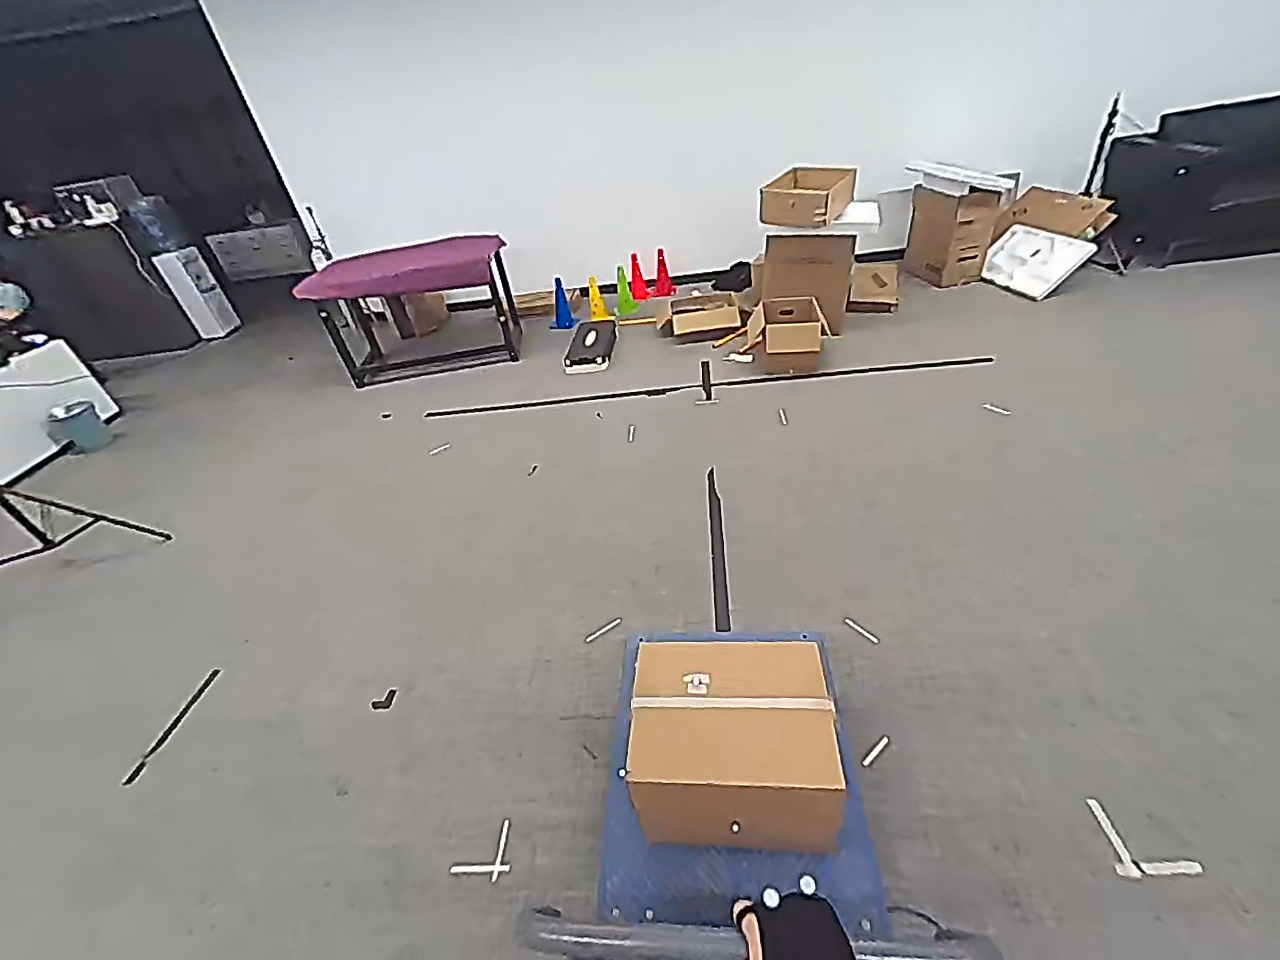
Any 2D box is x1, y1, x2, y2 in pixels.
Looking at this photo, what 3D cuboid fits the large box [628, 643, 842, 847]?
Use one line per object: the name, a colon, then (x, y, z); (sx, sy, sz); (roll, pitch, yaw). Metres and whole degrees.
large box: (0.205, 0.595, 1.215); (0.408, 0.320, 0.320); (-4, 36, 9)
